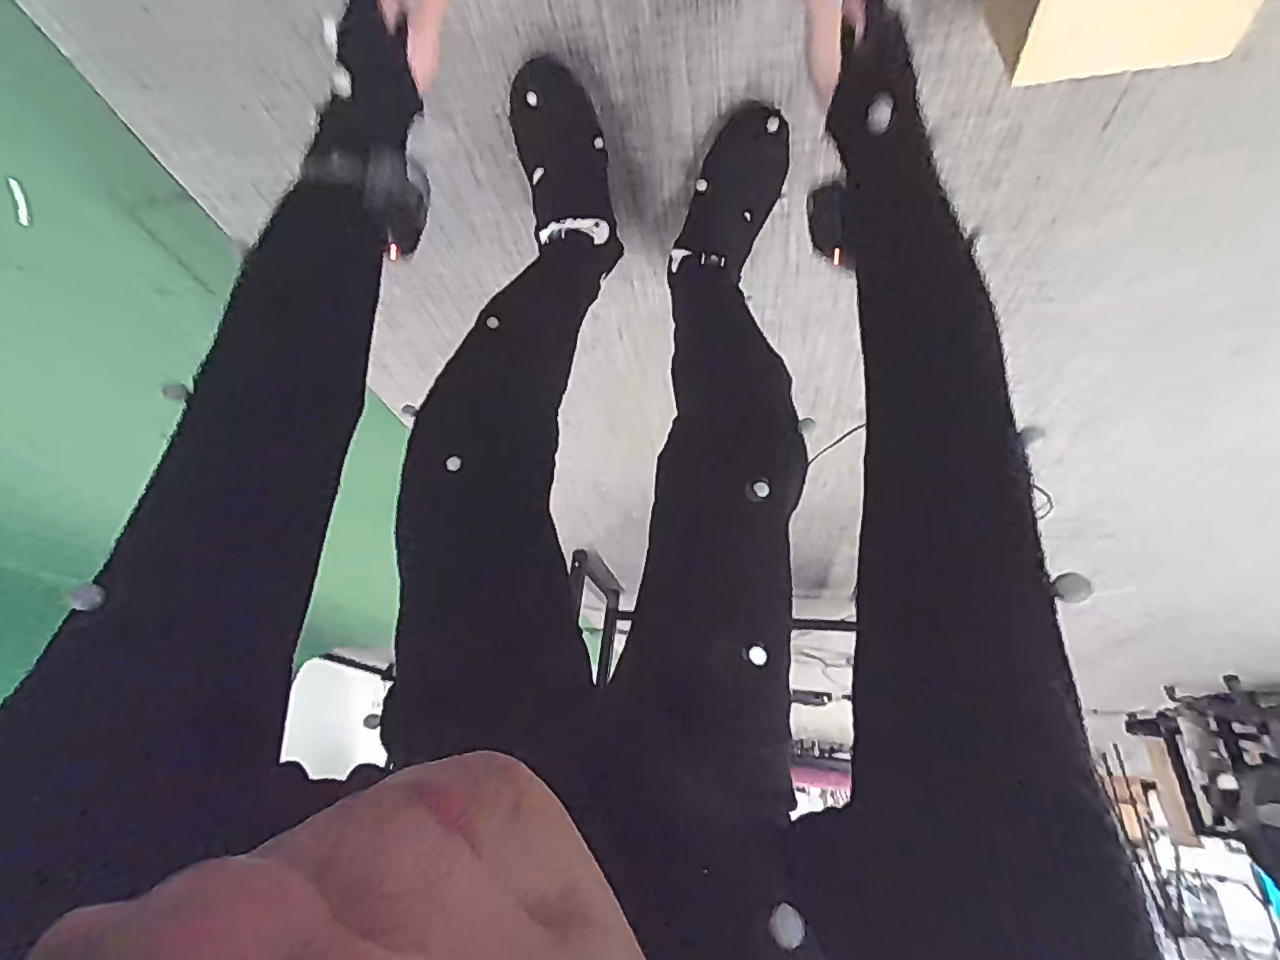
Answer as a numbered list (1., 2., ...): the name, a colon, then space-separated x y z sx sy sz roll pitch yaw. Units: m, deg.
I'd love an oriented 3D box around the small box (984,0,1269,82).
1. small box: 0.424 -0.480 0.458 0.179 0.176 0.168 -1 150 11
